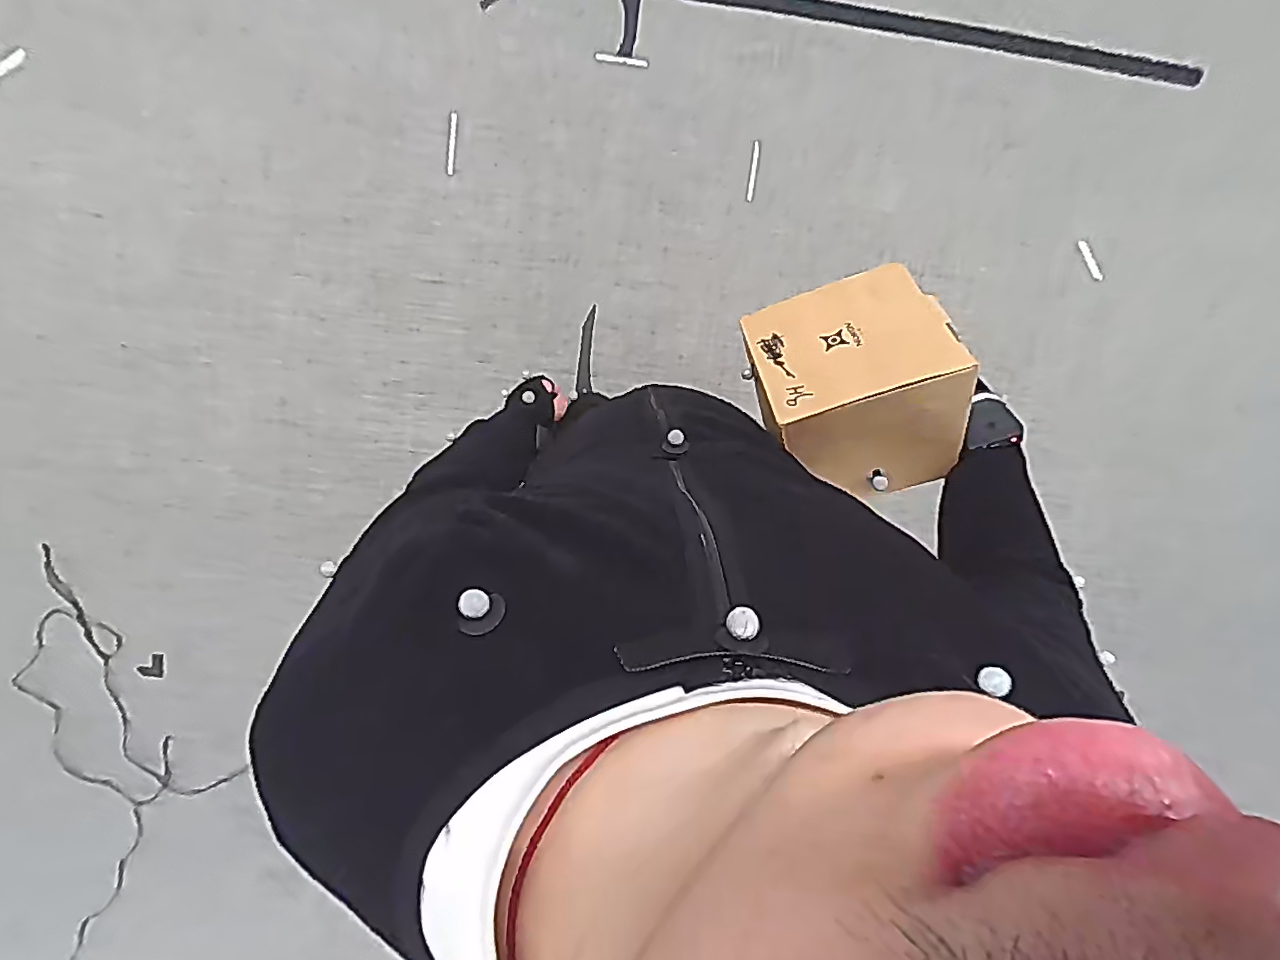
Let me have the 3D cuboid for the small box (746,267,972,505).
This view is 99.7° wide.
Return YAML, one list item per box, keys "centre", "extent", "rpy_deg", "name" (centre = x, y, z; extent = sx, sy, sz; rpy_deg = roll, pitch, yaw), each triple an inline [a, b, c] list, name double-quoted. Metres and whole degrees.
- centre: [0.232, -0.097, 0.606]
  extent: [0.179, 0.168, 0.176]
  rpy_deg: [-17, 140, 11]
  name: "small box"
